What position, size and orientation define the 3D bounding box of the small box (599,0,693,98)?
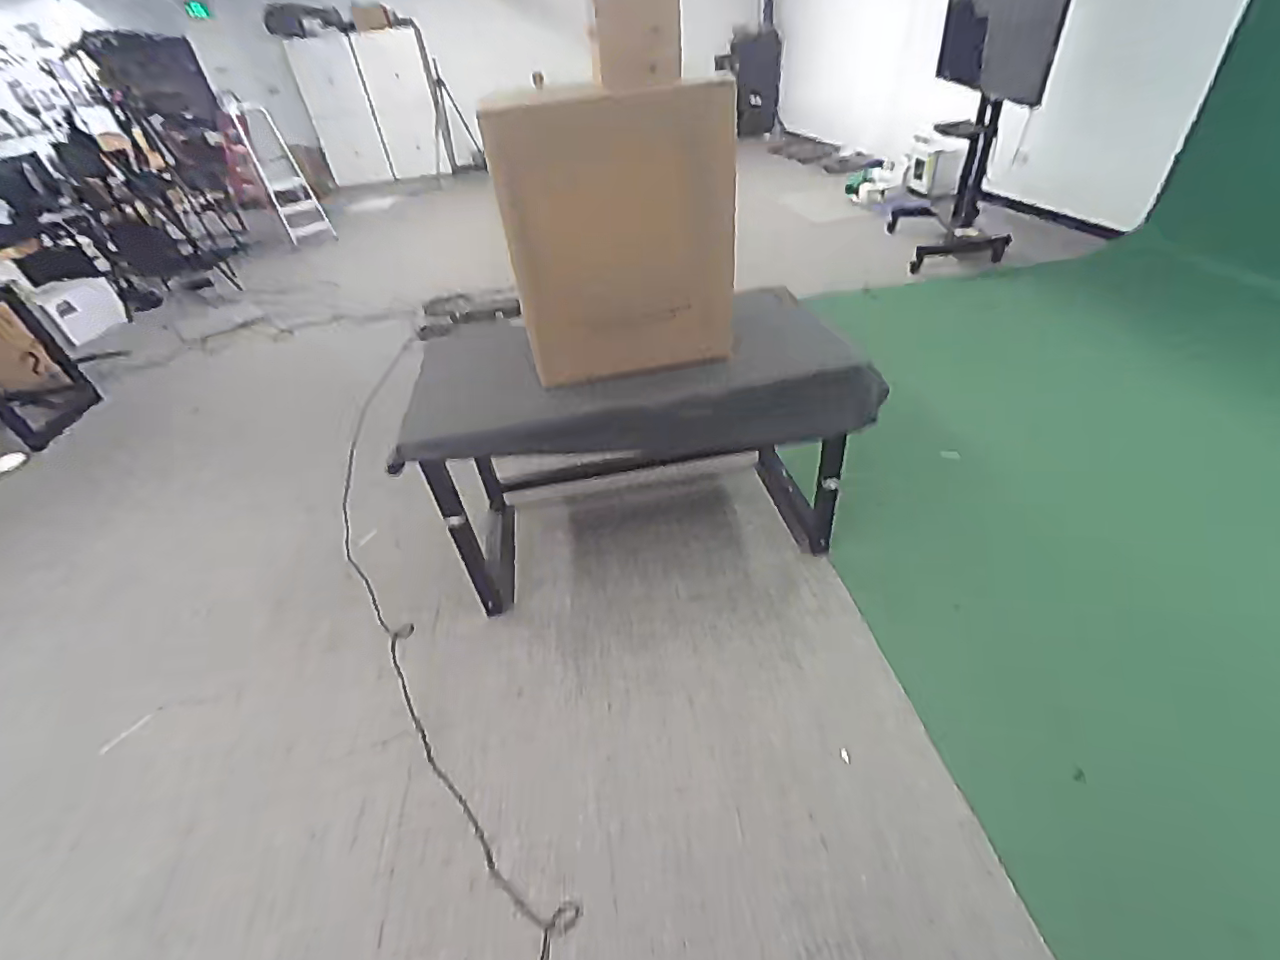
[{"bbox_3d":[0.013,-0.897,1.112,0.168,0.176,0.179,-9,39,-5],"label":"small box"}]
